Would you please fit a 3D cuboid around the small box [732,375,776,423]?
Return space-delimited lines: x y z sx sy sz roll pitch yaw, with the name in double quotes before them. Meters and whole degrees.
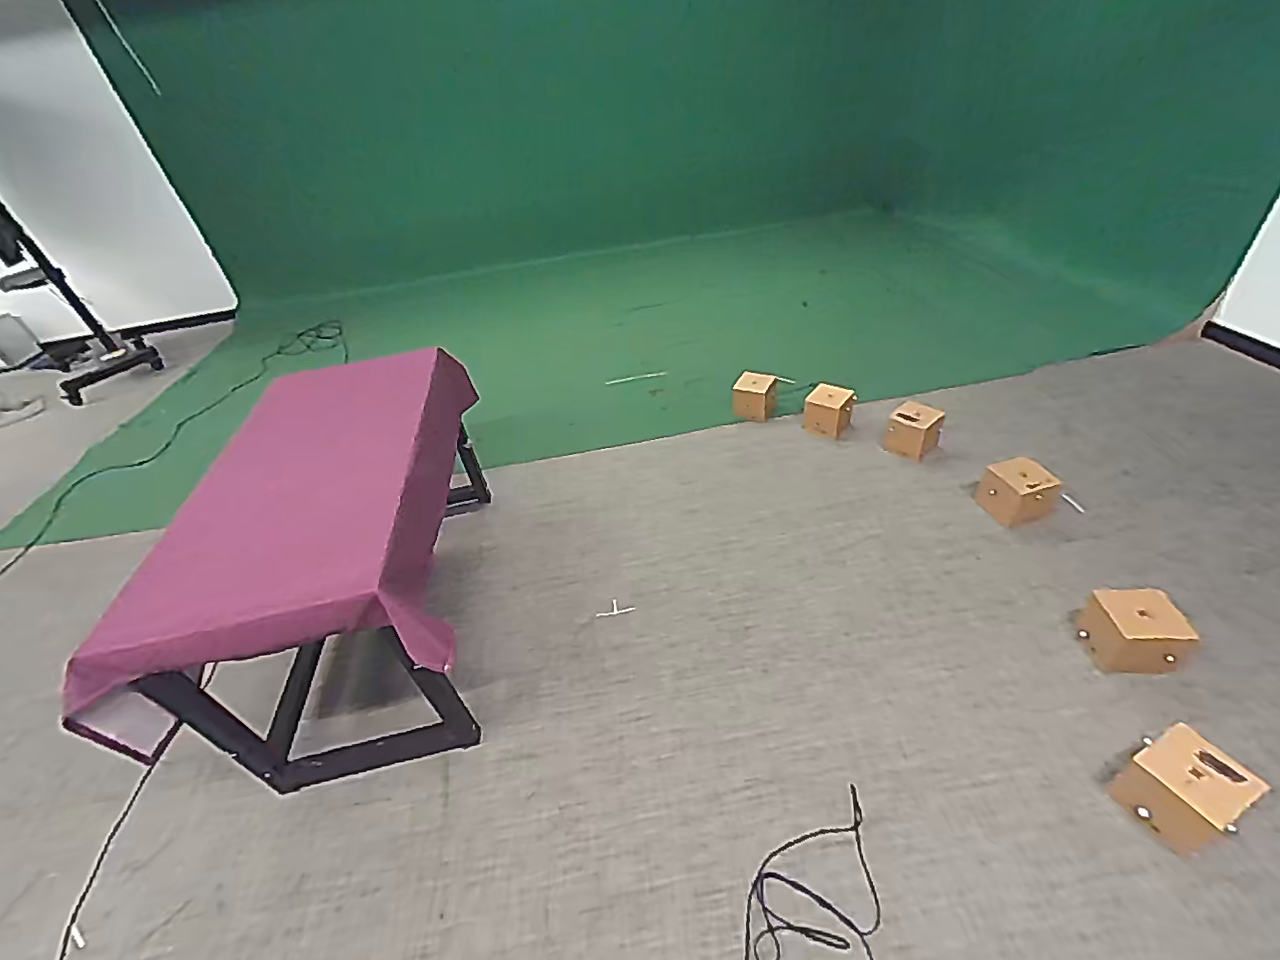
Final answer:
"small box" 0.573 -0.404 2.709 0.168 0.176 0.179 15 44 27

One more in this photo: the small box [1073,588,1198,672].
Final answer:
"small box" 1.378 0.422 1.520 0.179 0.176 0.168 -2 39 9

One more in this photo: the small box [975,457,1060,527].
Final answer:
"small box" 1.376 0.045 1.986 0.168 0.176 0.179 -15 38 -6

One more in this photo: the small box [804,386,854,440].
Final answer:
"small box" 0.882 -0.315 2.540 0.168 0.176 0.179 22 49 34
